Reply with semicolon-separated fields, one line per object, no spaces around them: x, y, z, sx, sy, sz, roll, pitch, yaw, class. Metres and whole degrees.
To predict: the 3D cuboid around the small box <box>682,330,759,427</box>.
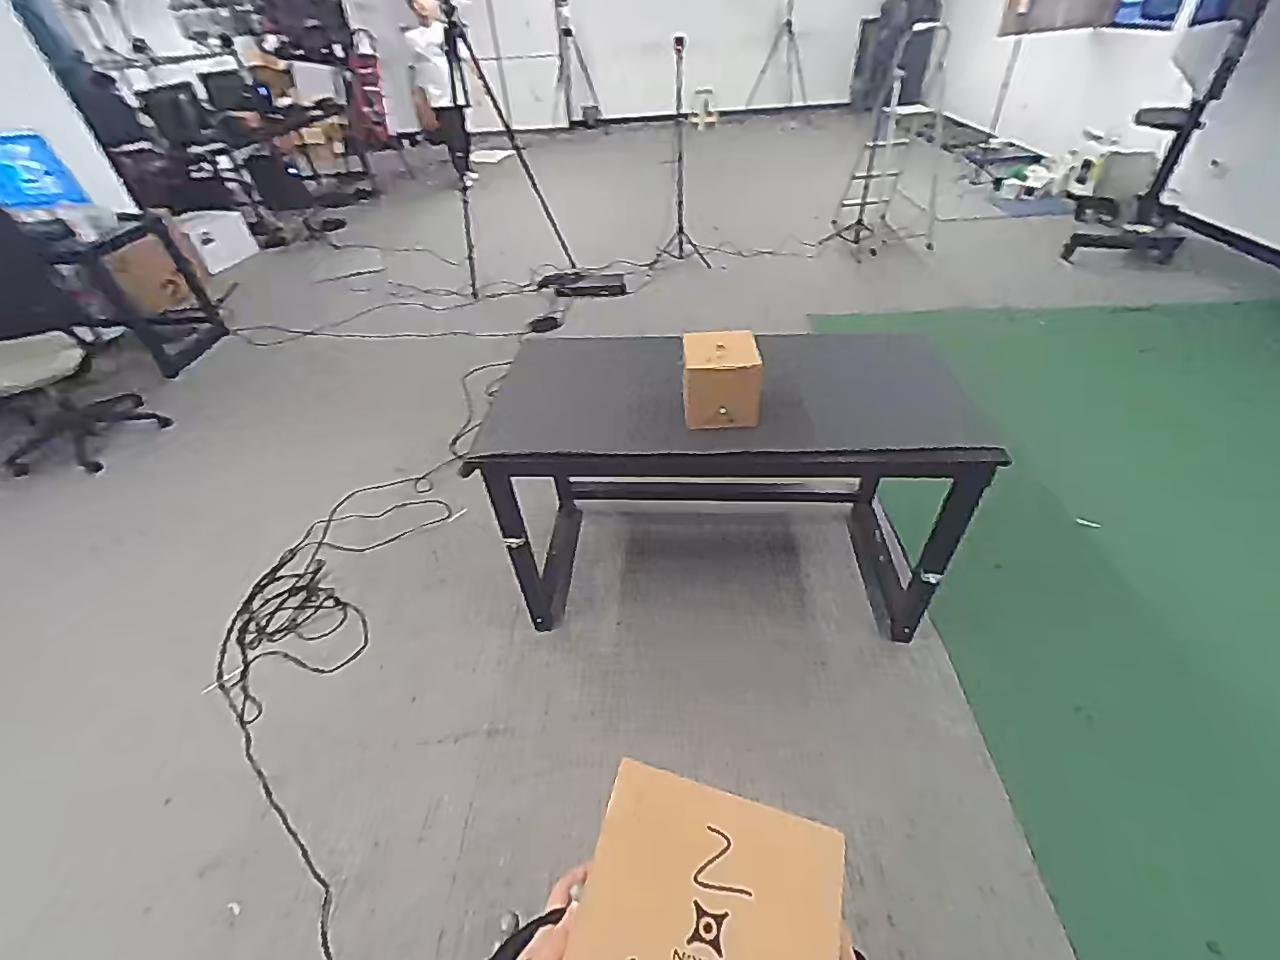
0.186;-0.246;1.304;0.168;0.176;0.179;-3;41;2;small box
